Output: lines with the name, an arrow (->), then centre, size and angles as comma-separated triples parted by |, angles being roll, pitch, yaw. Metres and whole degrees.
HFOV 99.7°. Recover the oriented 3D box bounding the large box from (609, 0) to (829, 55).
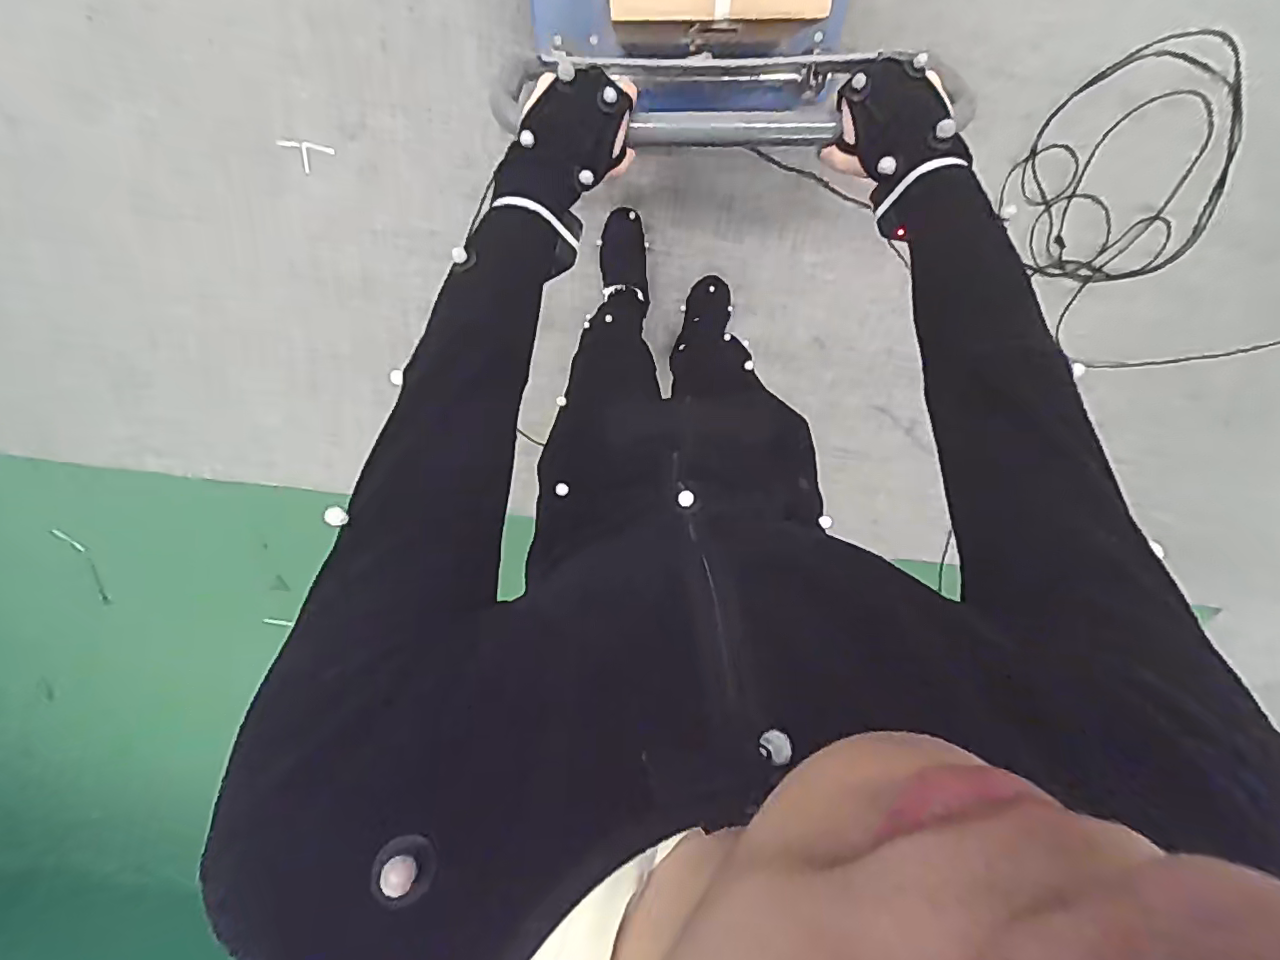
large box -> 0.109, -0.899, 0.793 | 0.320, 0.320, 0.408 | -1, 123, 0
